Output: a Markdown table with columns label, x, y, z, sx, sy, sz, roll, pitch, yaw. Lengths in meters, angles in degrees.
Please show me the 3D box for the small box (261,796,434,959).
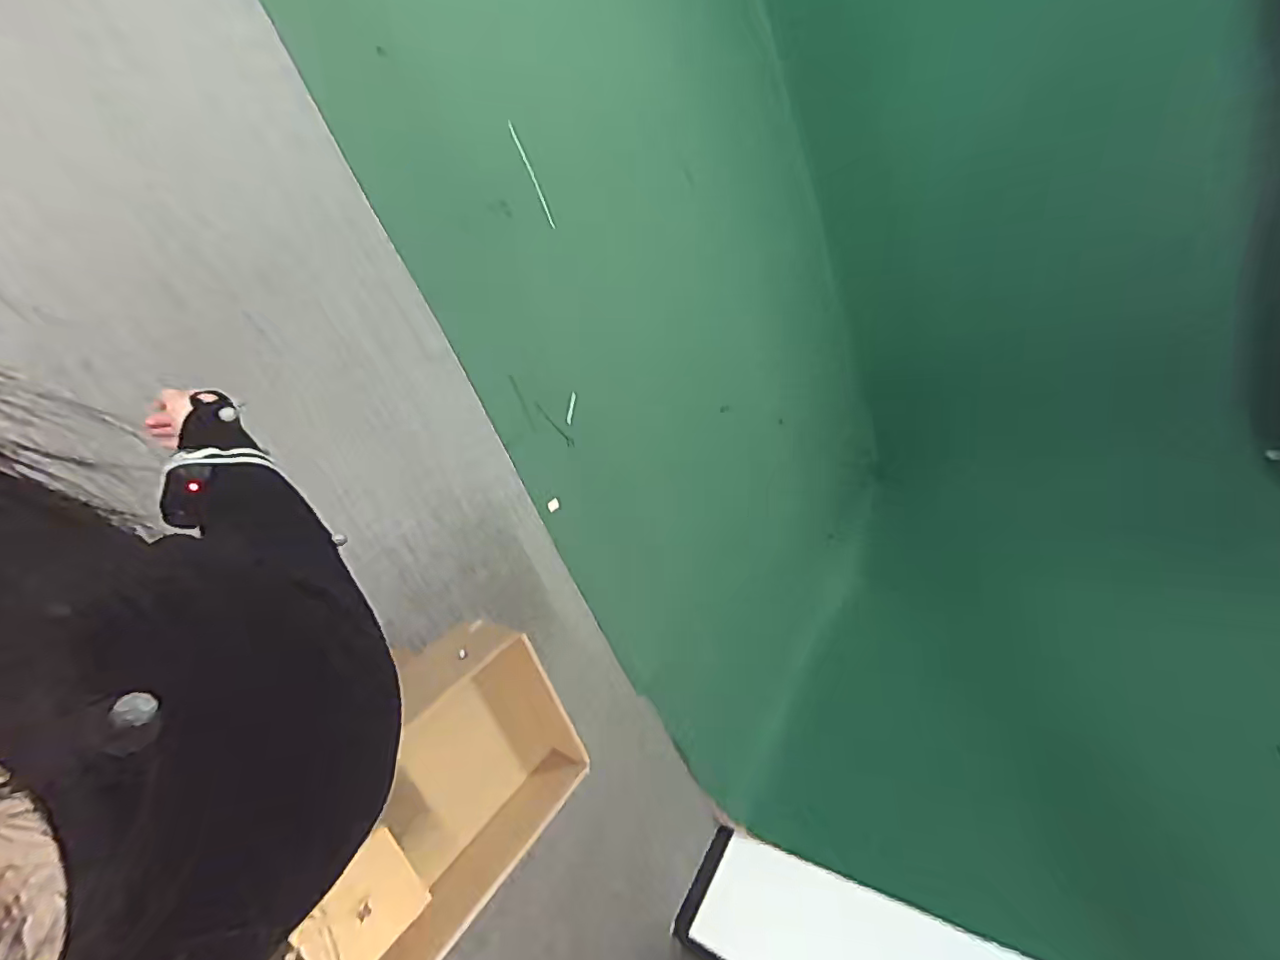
| label | x | y | z | sx | sy | sz | roll | pitch | yaw |
| --- | --- | --- | --- | --- | --- | --- | --- | --- | --- |
| small box | -0.480 | 0.665 | 0.888 | 0.168 | 0.176 | 0.179 | -36 | 112 | -42 |
